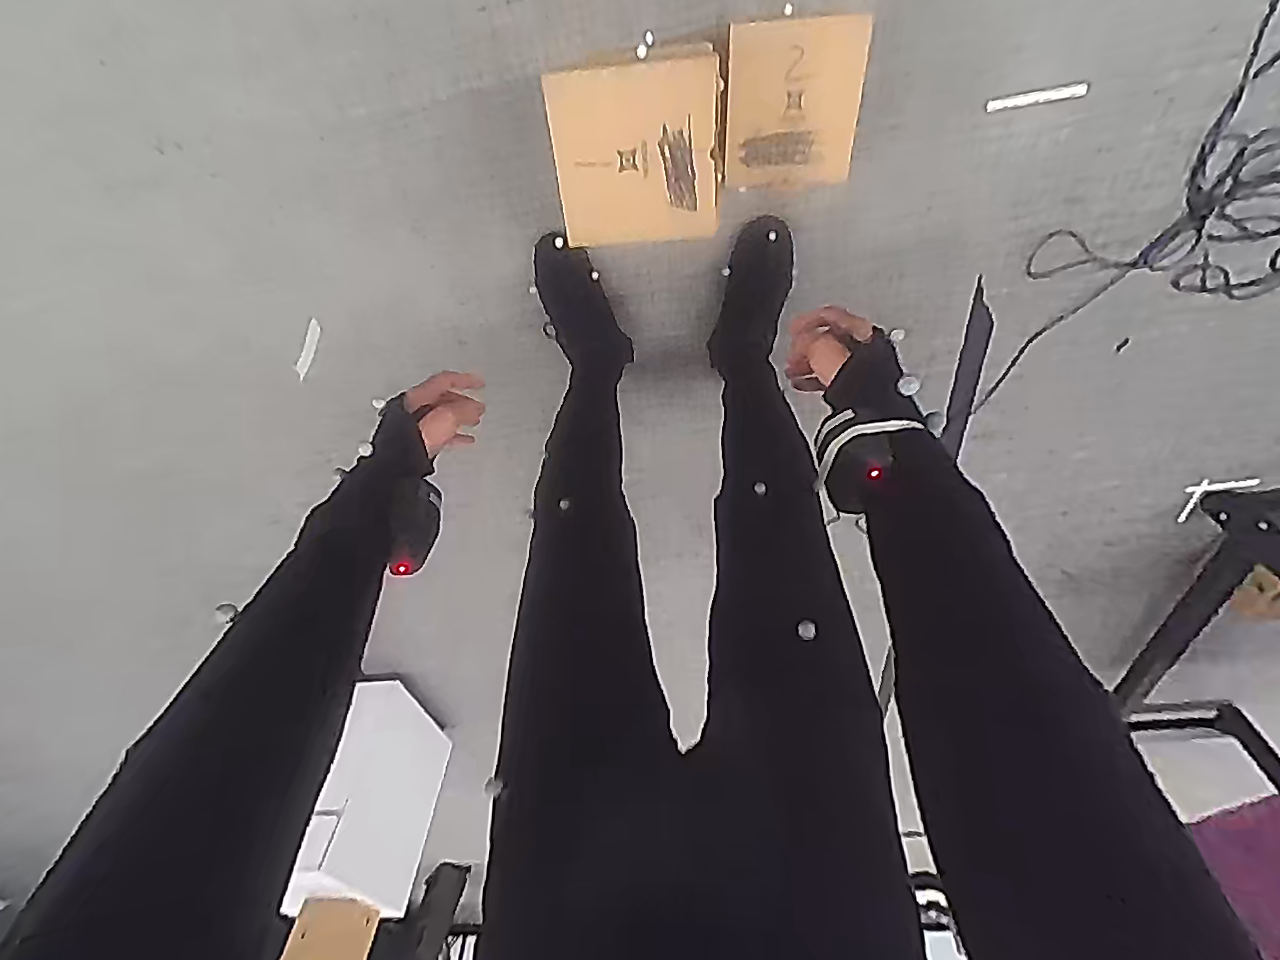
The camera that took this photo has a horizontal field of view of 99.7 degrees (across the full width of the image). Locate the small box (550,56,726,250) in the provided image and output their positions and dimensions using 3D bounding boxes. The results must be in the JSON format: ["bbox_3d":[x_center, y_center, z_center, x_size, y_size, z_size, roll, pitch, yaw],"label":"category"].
[{"bbox_3d":[0.005,-0.385,0.635,0.179,0.176,0.168,-1,130,5],"label":"small box"}]

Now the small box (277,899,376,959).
[{"bbox_3d":[-0.930,1.372,1.614,0.179,0.176,0.168,-4,131,7],"label":"small box"}]
